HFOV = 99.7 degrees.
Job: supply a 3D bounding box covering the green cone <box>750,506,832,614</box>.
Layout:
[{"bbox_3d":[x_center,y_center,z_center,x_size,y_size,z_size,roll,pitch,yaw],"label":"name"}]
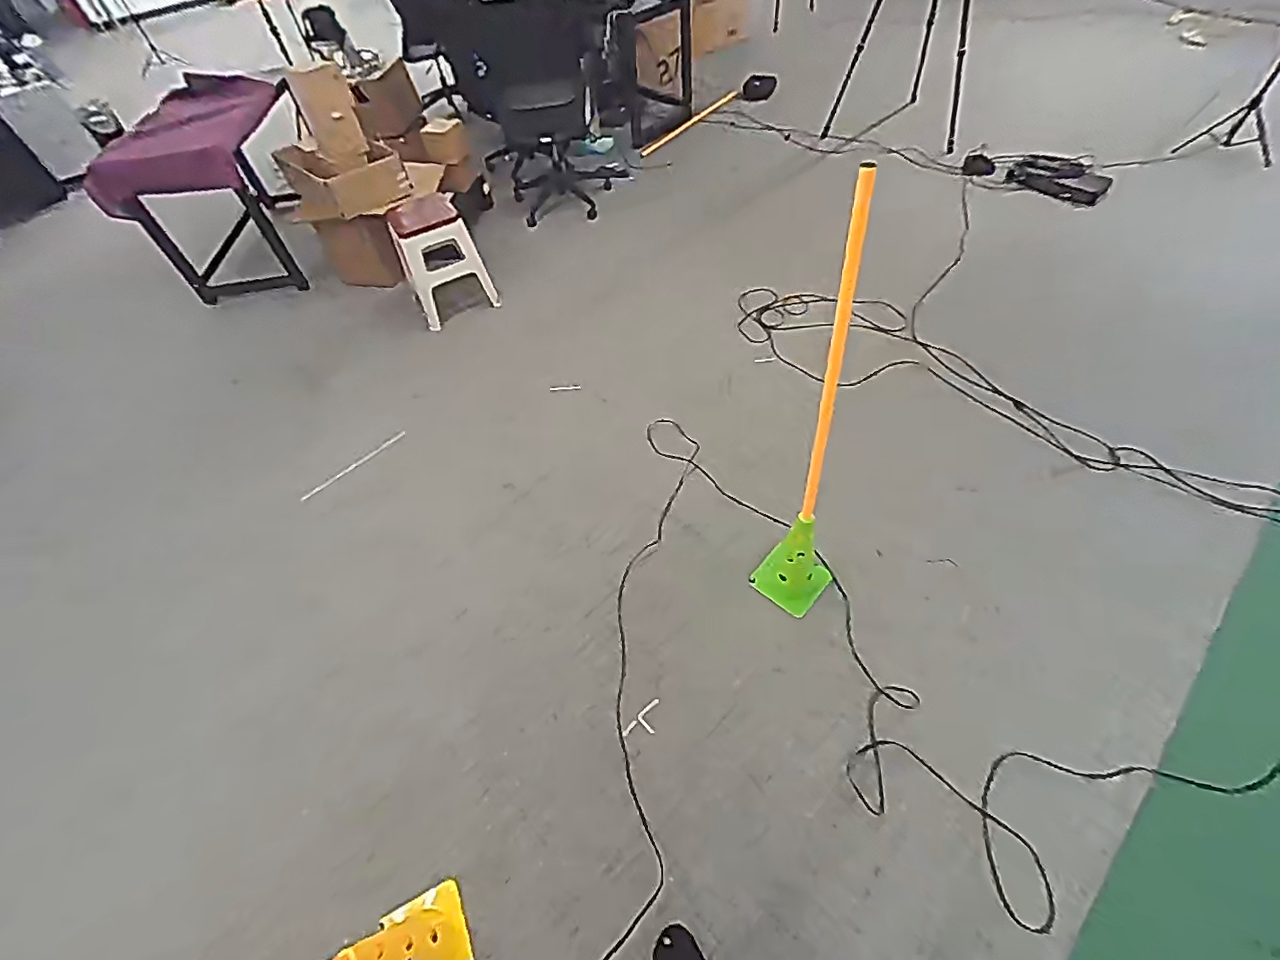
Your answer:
[{"bbox_3d":[0.465,0.198,1.575,0.200,0.368,0.202,34,62,27],"label":"green cone"}]
